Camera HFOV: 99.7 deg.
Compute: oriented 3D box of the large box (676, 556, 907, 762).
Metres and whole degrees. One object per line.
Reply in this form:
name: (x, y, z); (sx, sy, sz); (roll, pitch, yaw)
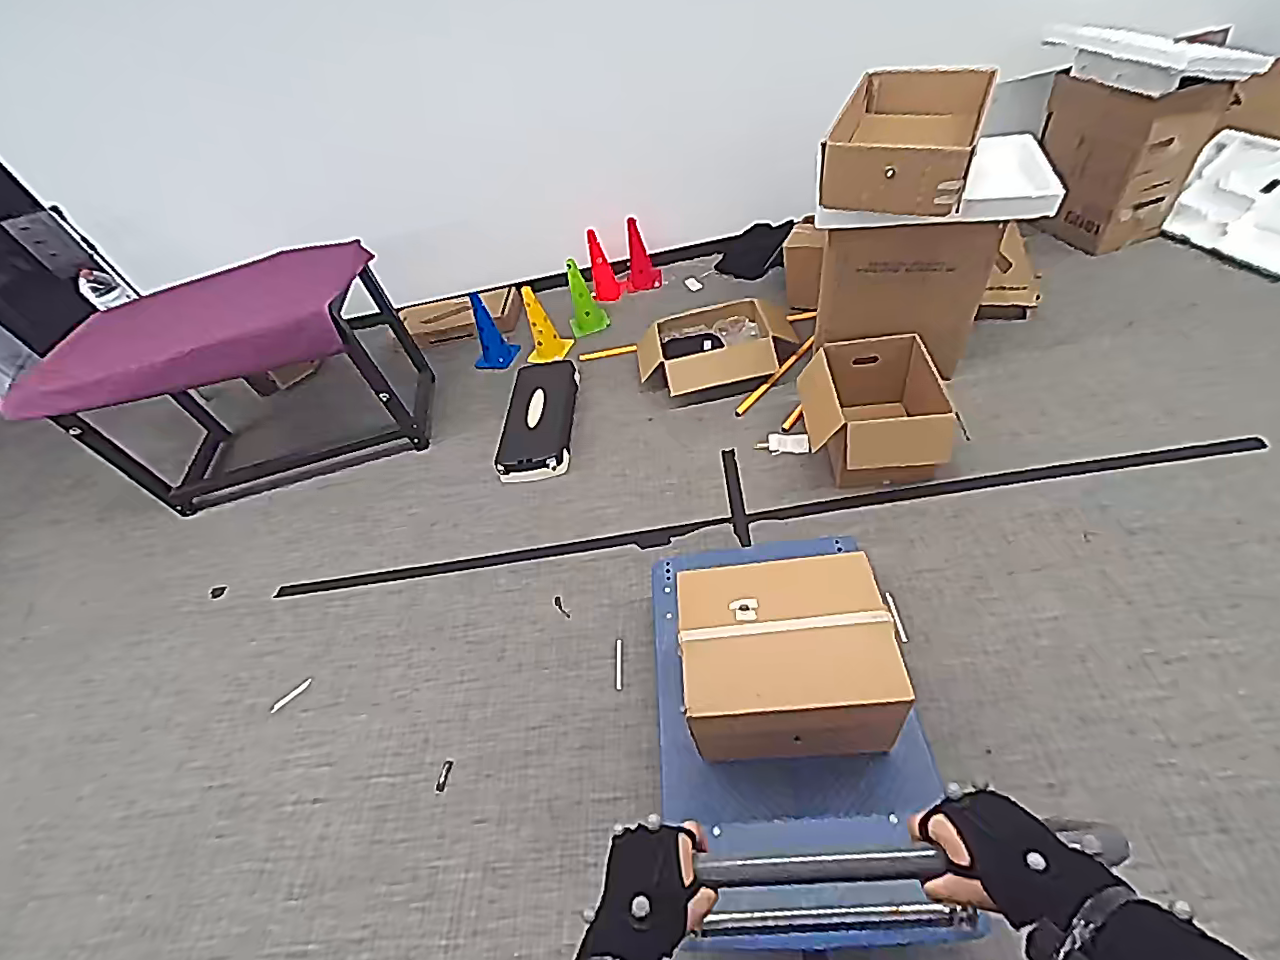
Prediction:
large box: (0.309, 0.402, 1.187); (0.408, 0.320, 0.320); (-9, 46, 8)
